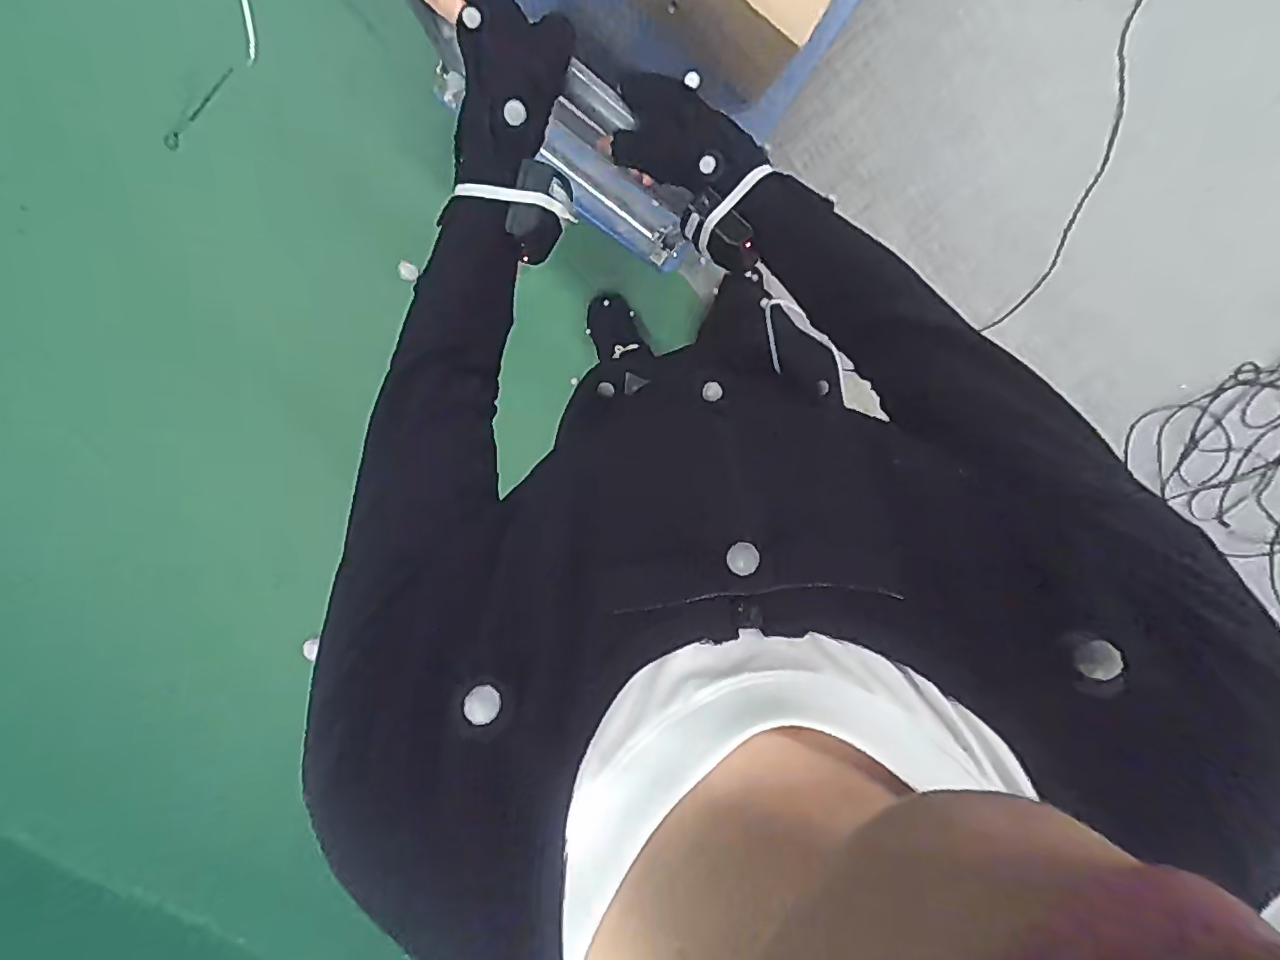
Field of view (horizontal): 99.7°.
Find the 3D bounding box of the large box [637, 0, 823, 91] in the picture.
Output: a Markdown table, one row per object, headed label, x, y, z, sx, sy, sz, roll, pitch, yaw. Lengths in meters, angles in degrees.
| label | x | y | z | sx | sy | sz | roll | pitch | yaw |
| --- | --- | --- | --- | --- | --- | --- | --- | --- | --- |
| large box | 0.139 | -0.903 | 0.823 | 0.408 | 0.320 | 0.320 | 30 | 108 | -13 |
